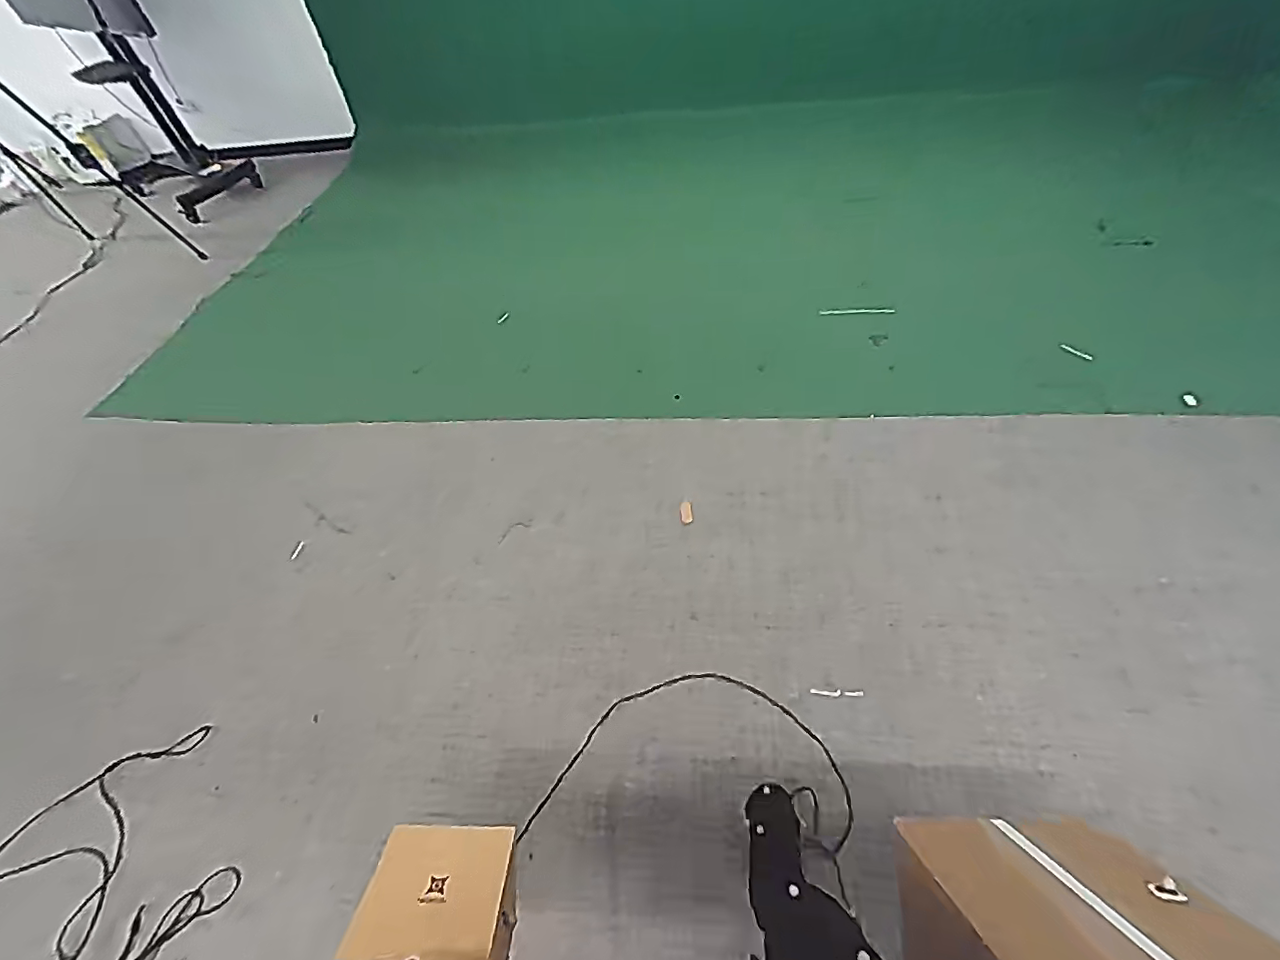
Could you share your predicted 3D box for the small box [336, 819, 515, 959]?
[{"bbox_3d":[-0.259,0.575,0.688,0.168,0.176,0.179,3,17,-4],"label":"small box"}]
